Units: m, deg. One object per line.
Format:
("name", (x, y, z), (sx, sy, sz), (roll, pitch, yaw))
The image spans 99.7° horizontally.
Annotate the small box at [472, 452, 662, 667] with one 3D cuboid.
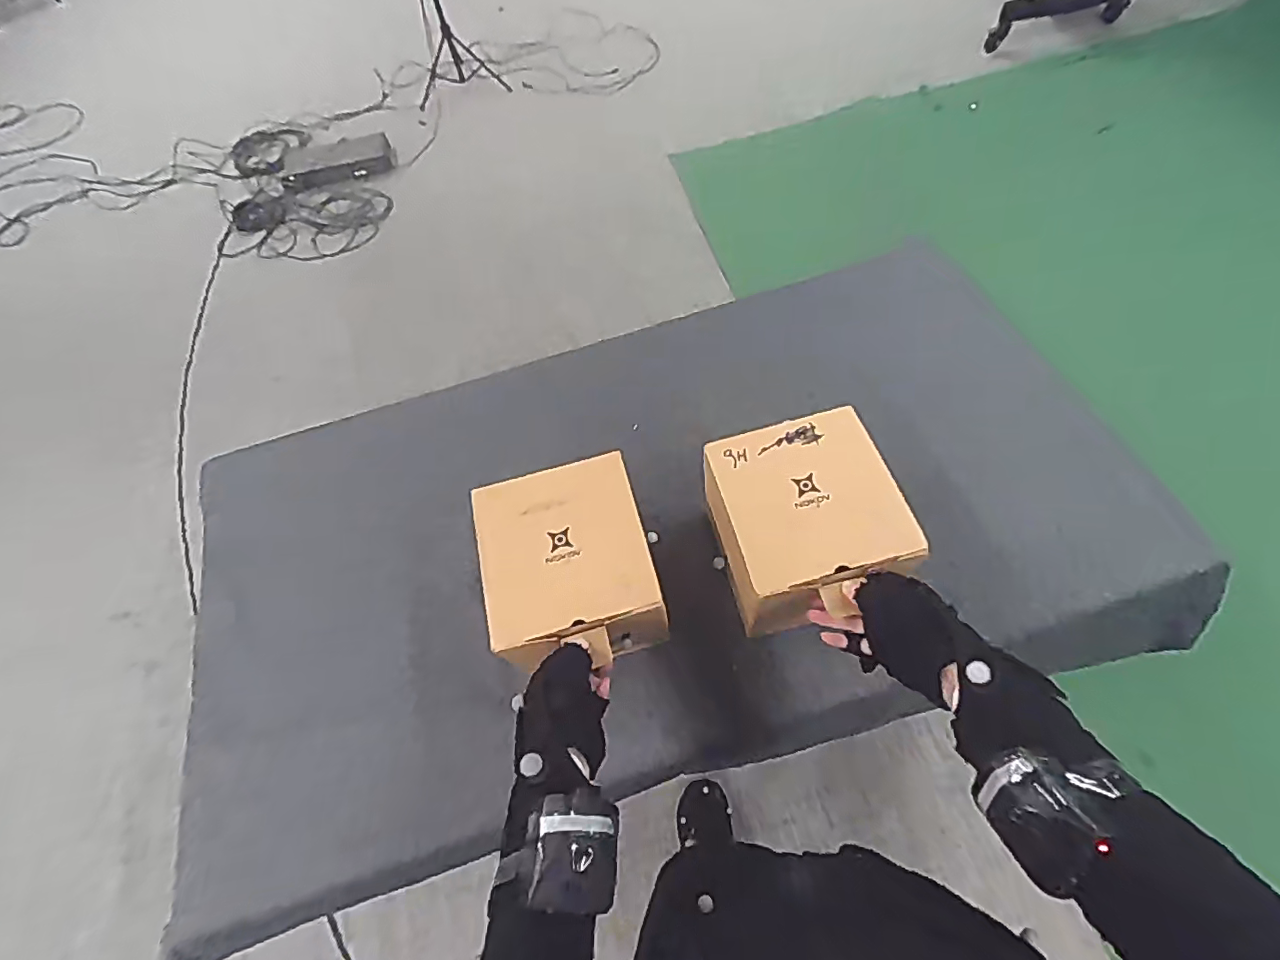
("small box", (-0.075, 0.101, 0.614), (0.168, 0.176, 0.179), (-16, 61, -5))
